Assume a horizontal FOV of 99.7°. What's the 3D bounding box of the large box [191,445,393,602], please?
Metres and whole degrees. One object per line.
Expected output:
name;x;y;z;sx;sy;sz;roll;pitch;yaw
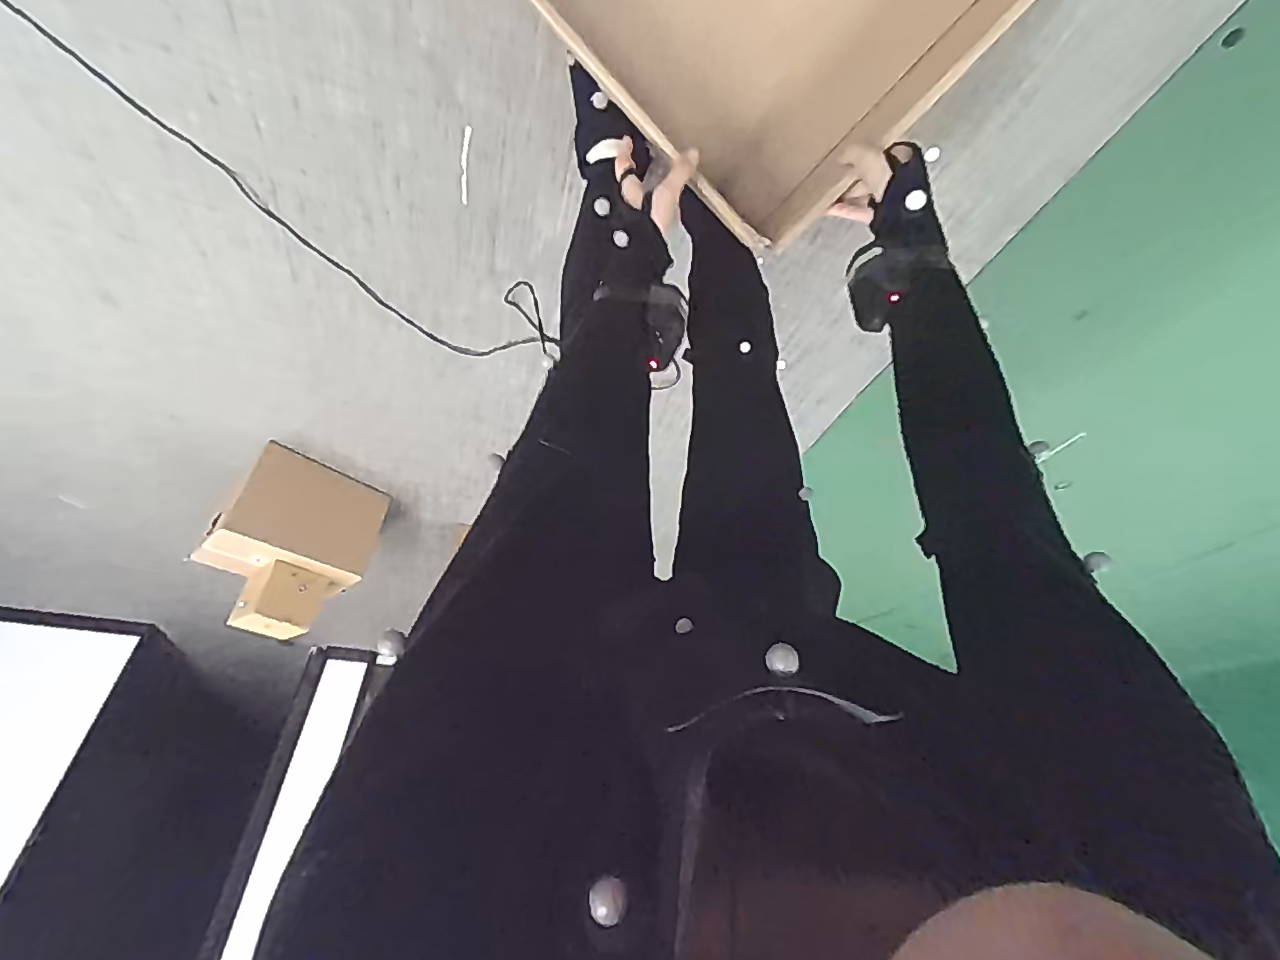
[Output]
large box;-1.093;0.153;1.736;0.320;0.320;0.408;-26;134;33

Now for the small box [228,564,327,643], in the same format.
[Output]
small box;-1.082;0.374;1.626;0.179;0.176;0.168;-21;138;31
